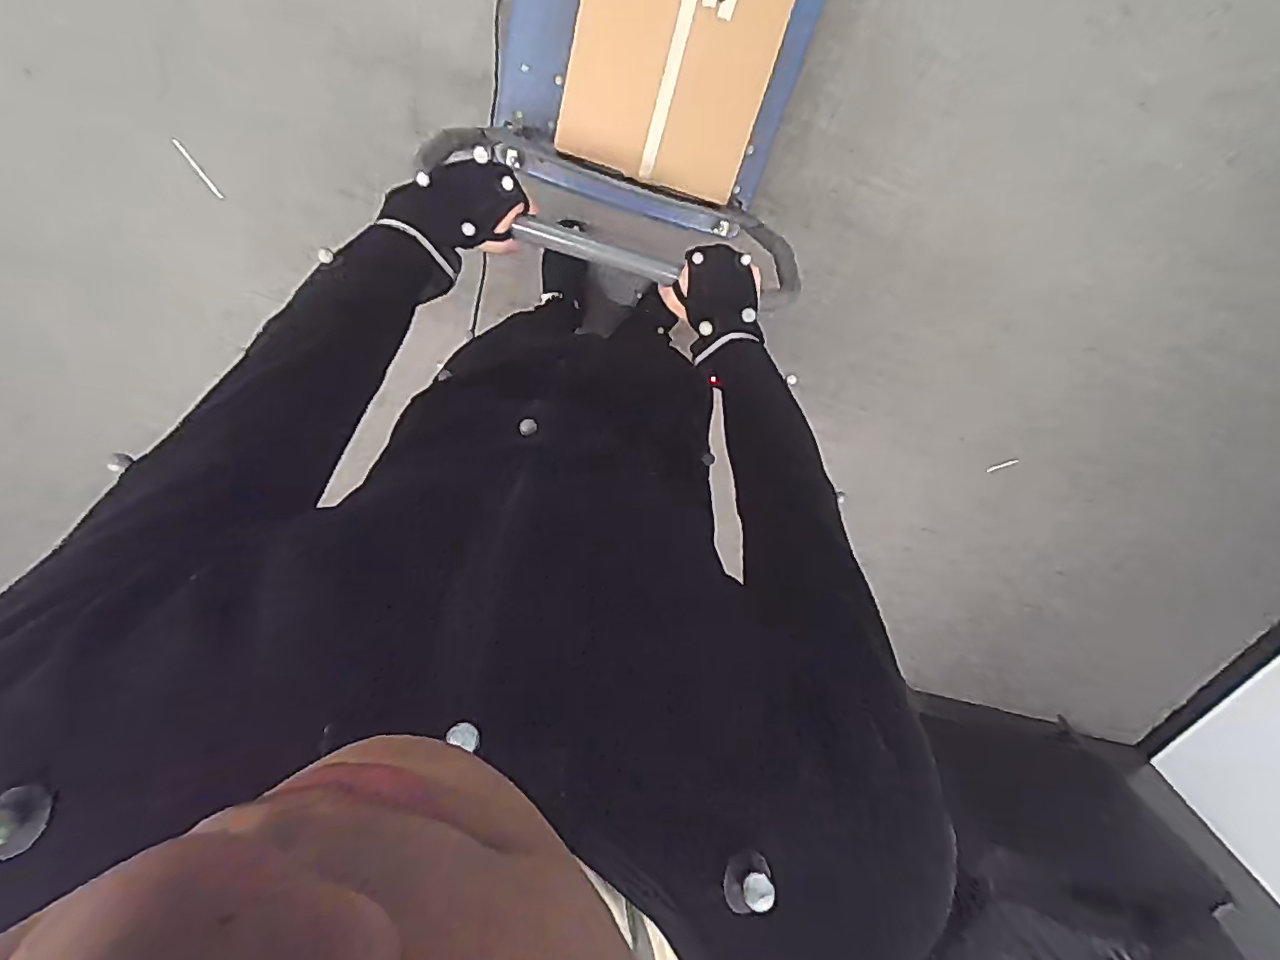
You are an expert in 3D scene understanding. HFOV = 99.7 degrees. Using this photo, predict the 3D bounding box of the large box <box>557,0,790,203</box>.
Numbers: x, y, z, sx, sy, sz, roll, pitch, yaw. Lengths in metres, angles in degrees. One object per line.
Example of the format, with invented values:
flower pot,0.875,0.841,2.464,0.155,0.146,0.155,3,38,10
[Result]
large box,0.052,-0.759,0.977,0.320,0.320,0.408,13,117,-10
